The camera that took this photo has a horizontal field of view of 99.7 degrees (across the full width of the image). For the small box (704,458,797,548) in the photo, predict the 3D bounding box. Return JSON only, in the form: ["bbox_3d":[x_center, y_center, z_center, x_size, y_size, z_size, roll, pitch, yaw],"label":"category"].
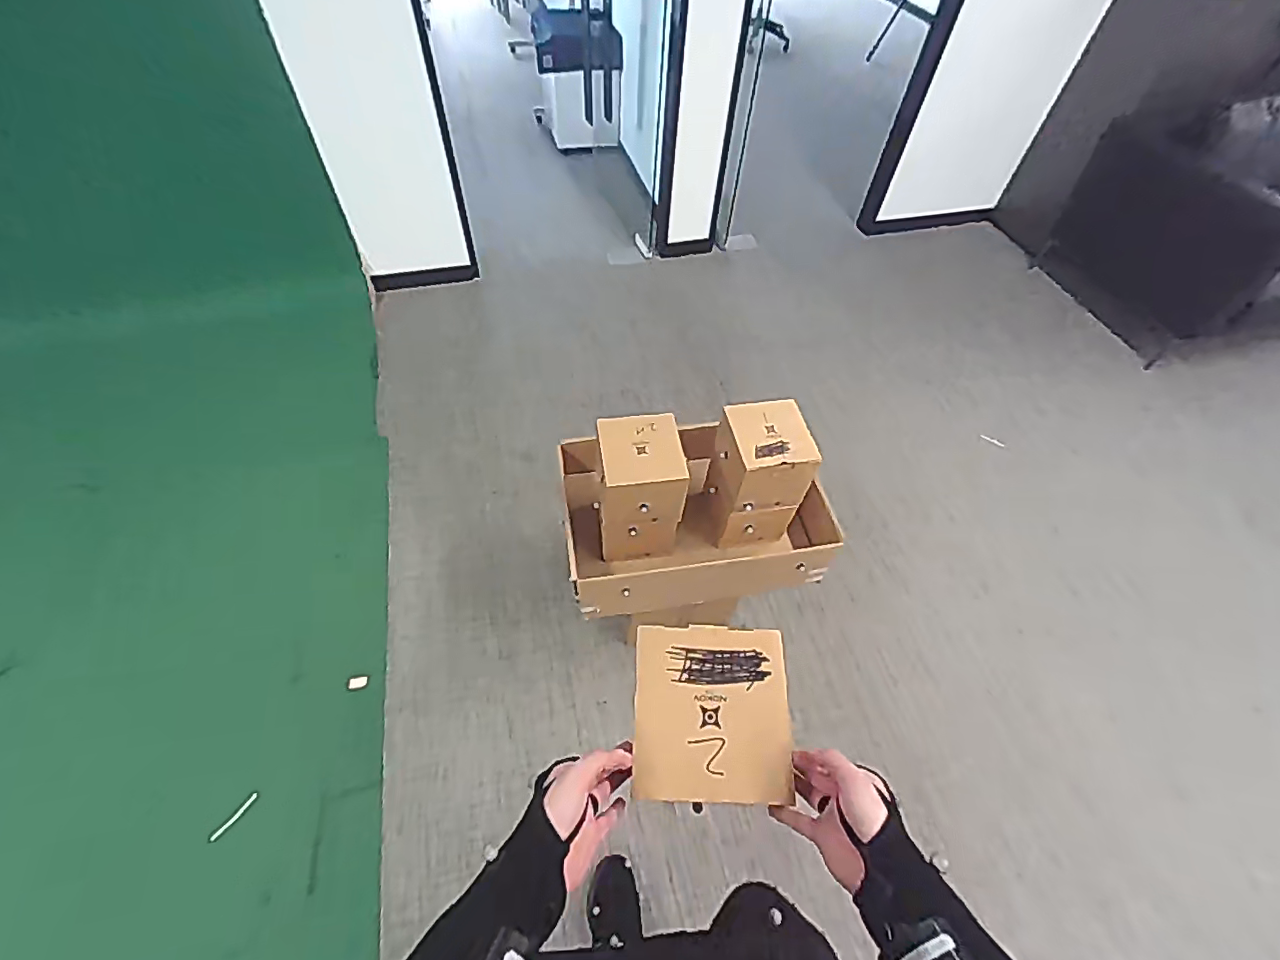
[{"bbox_3d":[0.262,0.055,1.325,0.168,0.176,0.179,-6,54,-7],"label":"small box"}]

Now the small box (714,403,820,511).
[{"bbox_3d":[0.270,-0.043,1.193,0.168,0.176,0.179,-7,54,-8],"label":"small box"}]

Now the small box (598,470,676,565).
[{"bbox_3d":[-0.012,0.081,1.289,0.168,0.176,0.179,-6,54,-5],"label":"small box"}]

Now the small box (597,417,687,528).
[{"bbox_3d":[-0.001,-0.009,1.152,0.168,0.176,0.179,-5,55,-8],"label":"small box"}]
